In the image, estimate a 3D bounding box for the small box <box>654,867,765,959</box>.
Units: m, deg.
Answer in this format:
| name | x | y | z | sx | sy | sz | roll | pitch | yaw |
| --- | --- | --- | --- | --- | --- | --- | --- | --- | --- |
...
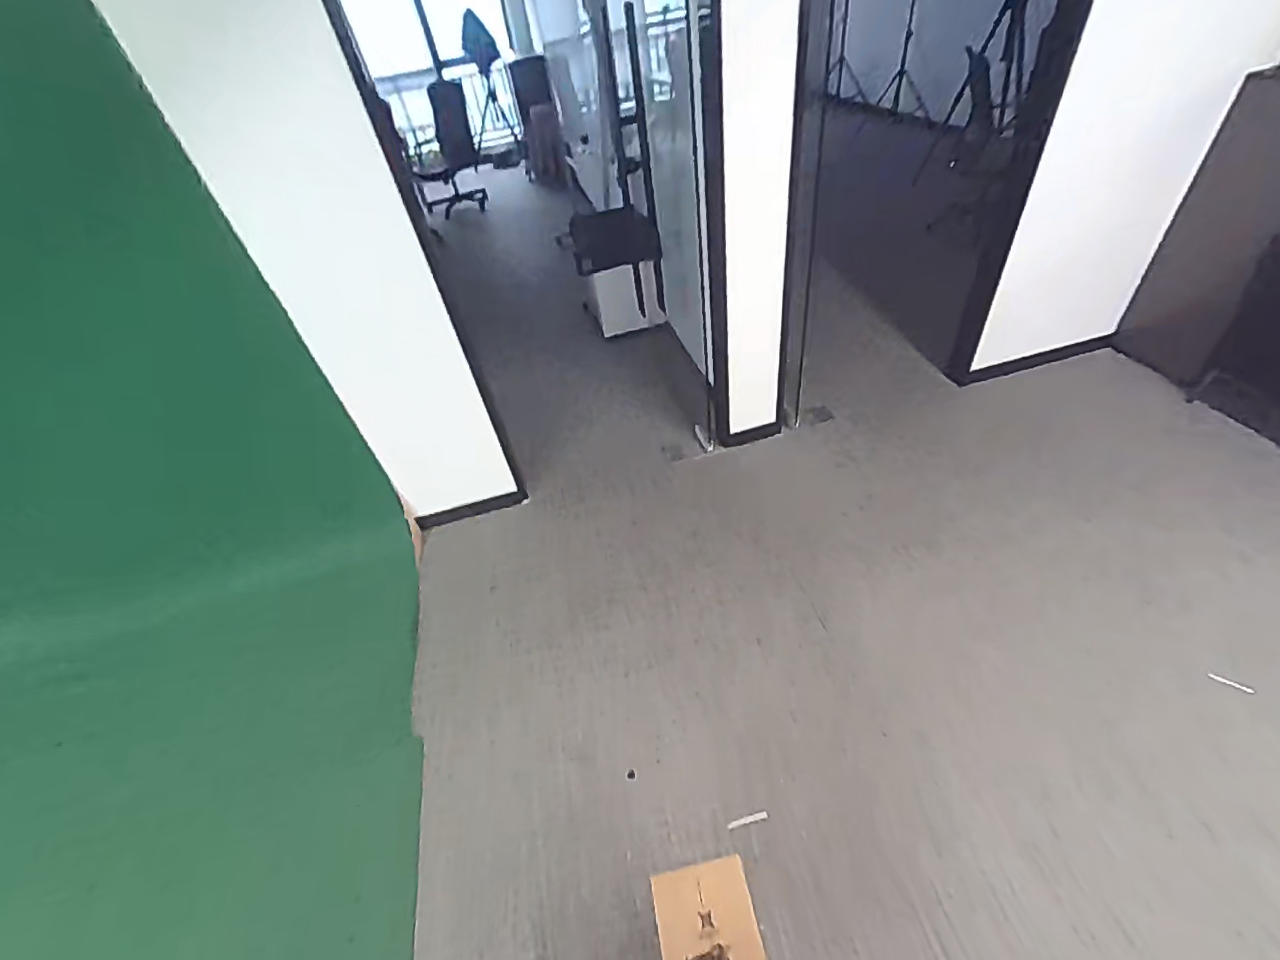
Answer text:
| name | x | y | z | sx | sy | sz | roll | pitch | yaw |
| --- | --- | --- | --- | --- | --- | --- | --- | --- | --- |
| small box | 0.127 | 0.822 | 0.957 | 0.168 | 0.176 | 0.179 | -12 | 43 | -3 |
